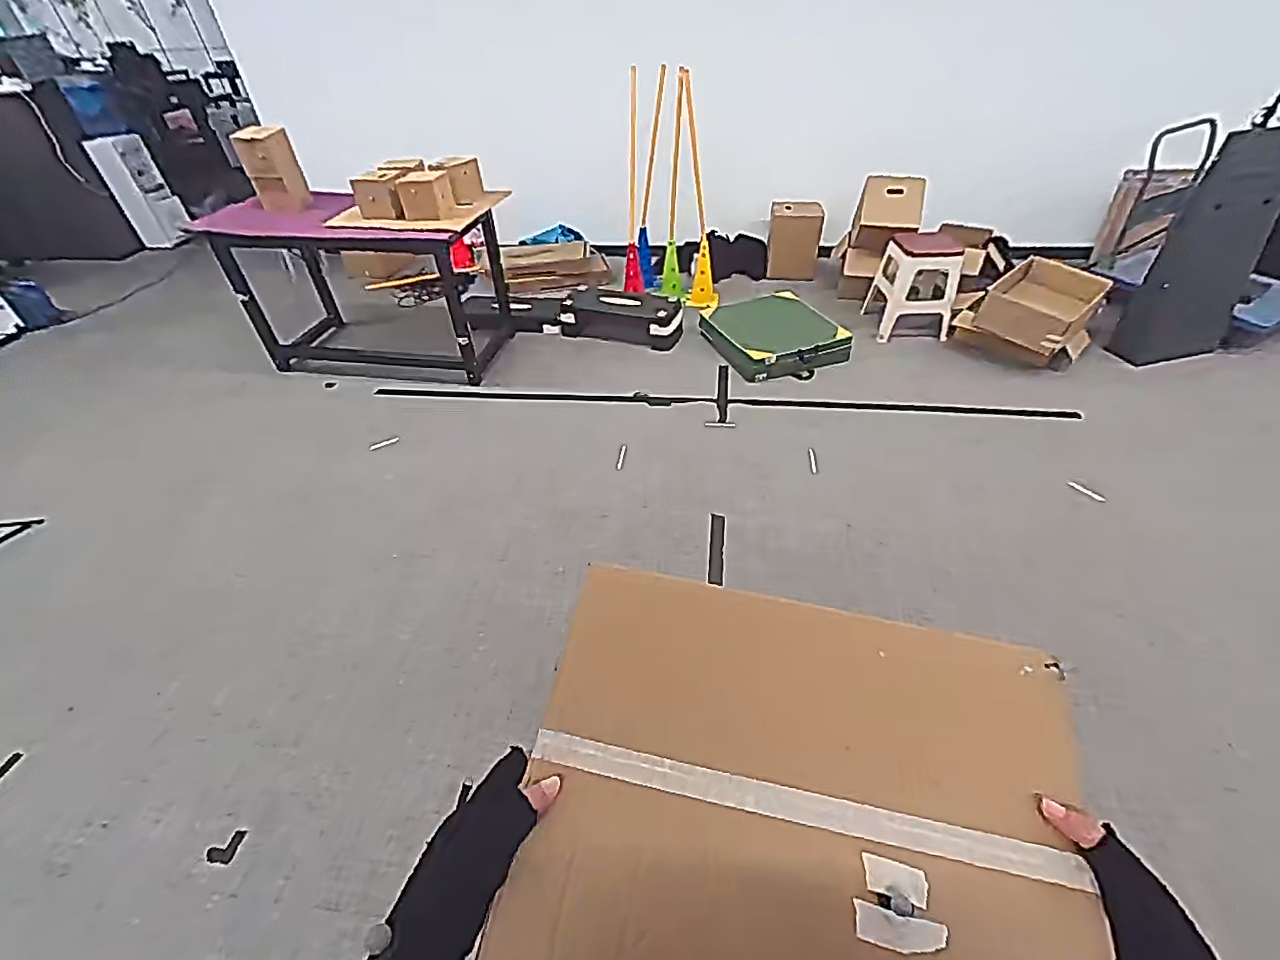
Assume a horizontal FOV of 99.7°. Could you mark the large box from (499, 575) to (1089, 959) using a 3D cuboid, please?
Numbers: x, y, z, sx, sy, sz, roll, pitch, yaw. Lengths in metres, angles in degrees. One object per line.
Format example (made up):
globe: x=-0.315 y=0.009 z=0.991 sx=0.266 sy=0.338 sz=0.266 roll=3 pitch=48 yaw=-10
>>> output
large box: x=0.123 y=0.327 z=0.545 sx=0.408 sy=0.320 sz=0.320 roll=10 pitch=60 yaw=7
